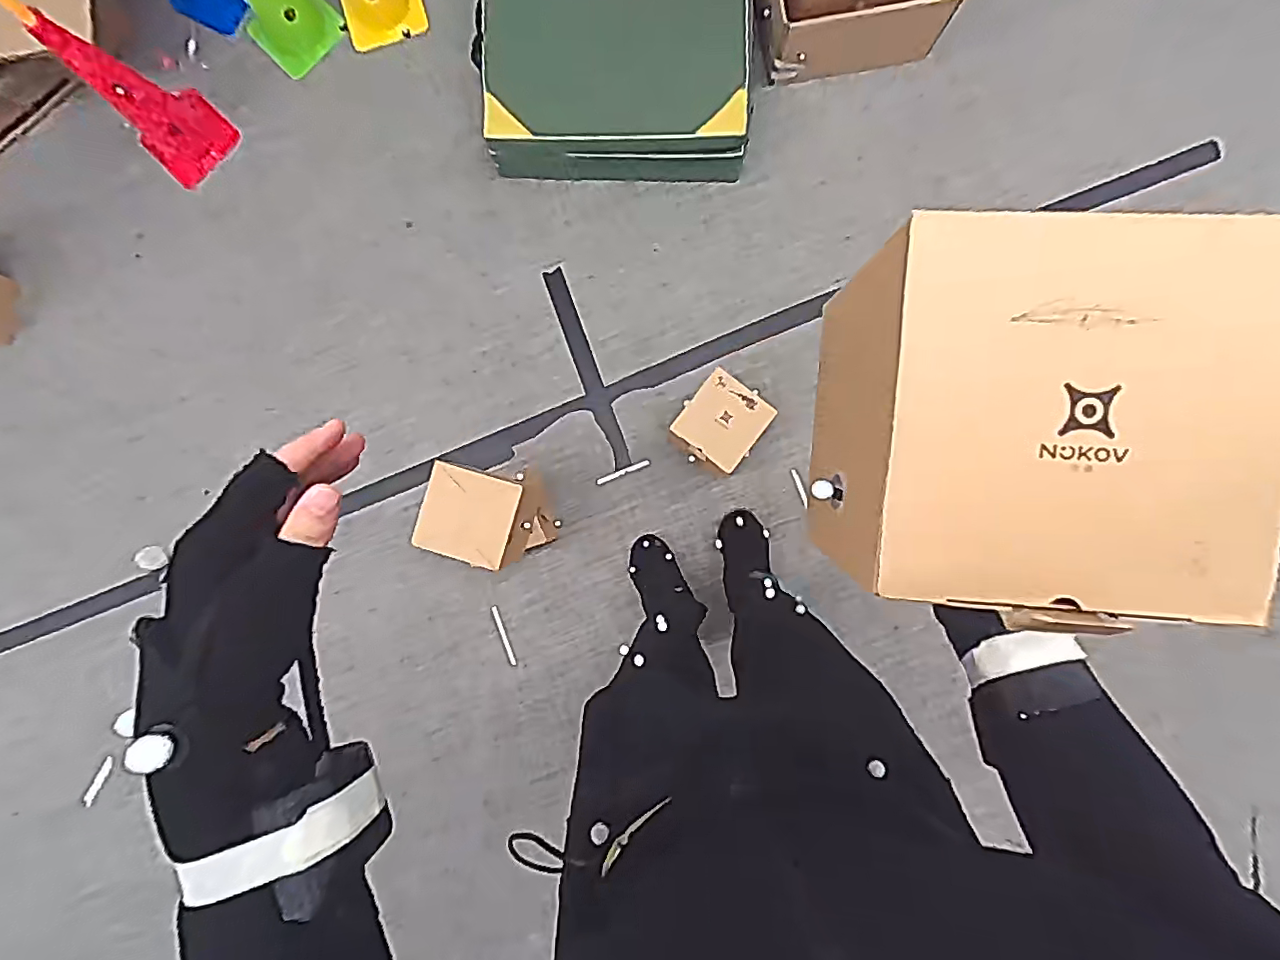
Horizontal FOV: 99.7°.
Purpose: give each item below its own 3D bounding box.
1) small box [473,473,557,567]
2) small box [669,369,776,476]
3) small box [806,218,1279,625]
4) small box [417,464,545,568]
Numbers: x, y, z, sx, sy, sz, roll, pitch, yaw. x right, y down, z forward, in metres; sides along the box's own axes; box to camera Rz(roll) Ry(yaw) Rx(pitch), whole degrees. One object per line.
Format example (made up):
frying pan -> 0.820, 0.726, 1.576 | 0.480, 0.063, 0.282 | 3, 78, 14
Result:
small box -> -0.301, 0.088, 1.254 | 0.179, 0.176, 0.168 | -19, 87, 2
small box -> 0.181, -0.122, 1.243 | 0.168, 0.176, 0.179 | 39, 90, 1
small box -> 0.202, -0.033, 0.323 | 0.168, 0.176, 0.179 | 4, 94, 5
small box -> -0.312, 0.071, 1.087 | 0.179, 0.176, 0.168 | 16, 88, 4
